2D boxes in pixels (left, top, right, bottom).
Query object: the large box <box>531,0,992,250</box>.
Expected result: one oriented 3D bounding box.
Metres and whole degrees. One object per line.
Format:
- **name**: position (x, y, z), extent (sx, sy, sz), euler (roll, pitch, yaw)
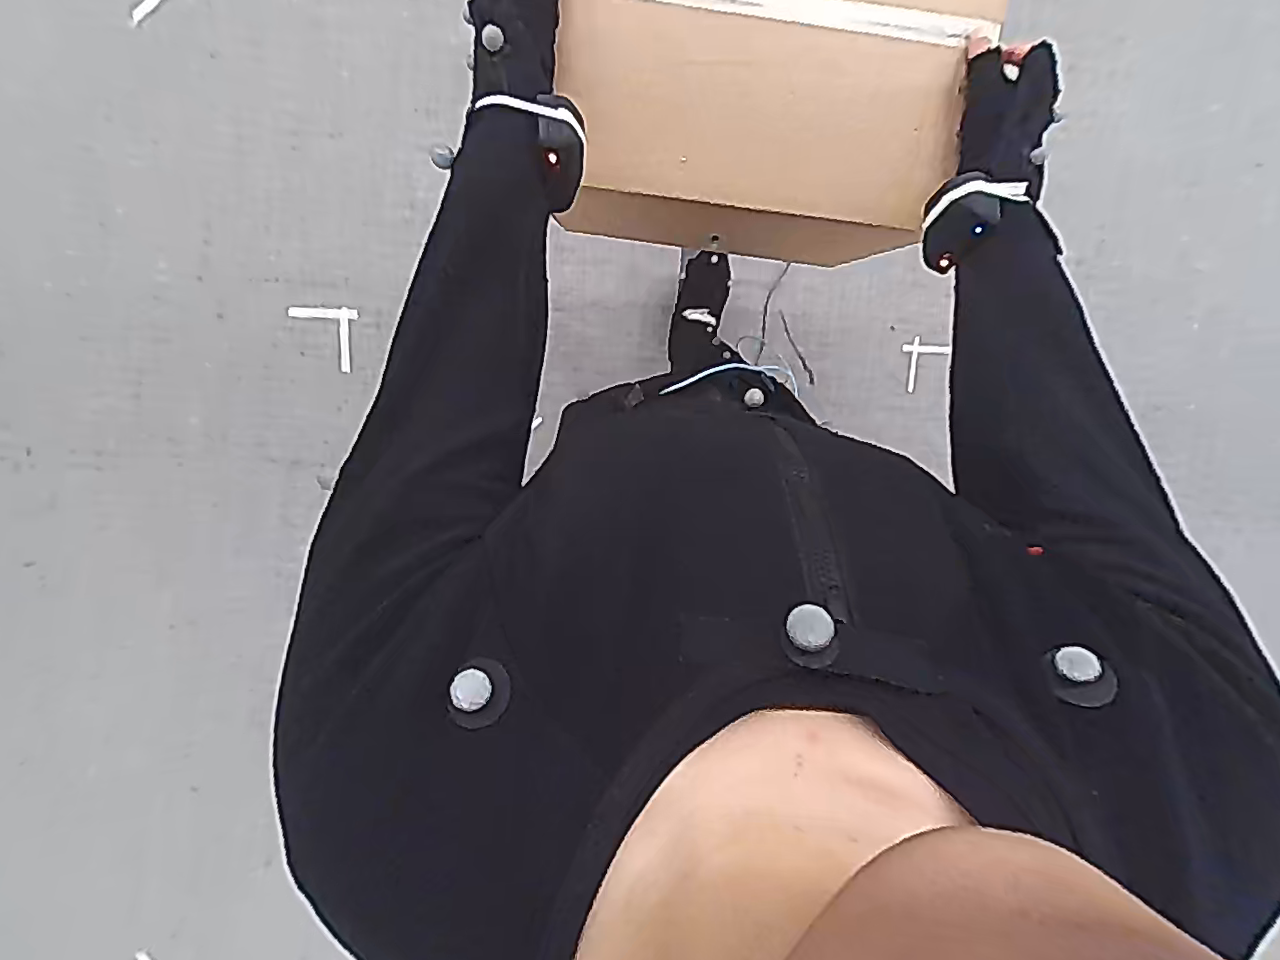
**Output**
- **large box**: position (0.109, -0.462, 0.617), extent (0.408, 0.320, 0.320), euler (6, 105, -3)
